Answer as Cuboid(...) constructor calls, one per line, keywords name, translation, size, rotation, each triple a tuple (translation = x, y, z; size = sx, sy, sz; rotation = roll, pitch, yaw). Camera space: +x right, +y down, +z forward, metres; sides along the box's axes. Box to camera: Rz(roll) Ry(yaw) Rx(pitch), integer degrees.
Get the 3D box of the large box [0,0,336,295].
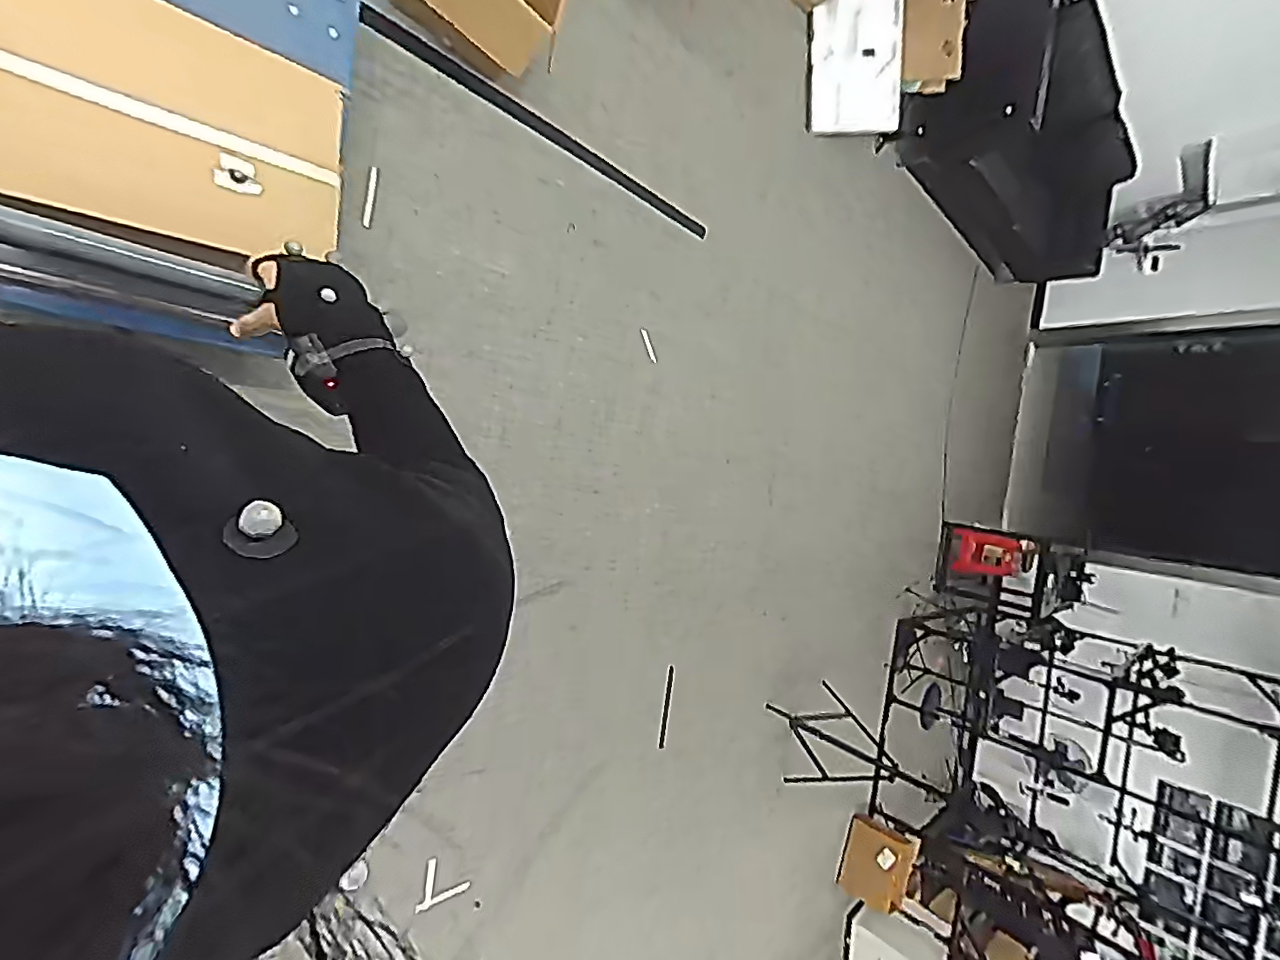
Cuboid(name="large box", translation=(-0.765, -0.522, 0.877), size=(0.408, 0.320, 0.320), rotation=(2, 95, -45))
